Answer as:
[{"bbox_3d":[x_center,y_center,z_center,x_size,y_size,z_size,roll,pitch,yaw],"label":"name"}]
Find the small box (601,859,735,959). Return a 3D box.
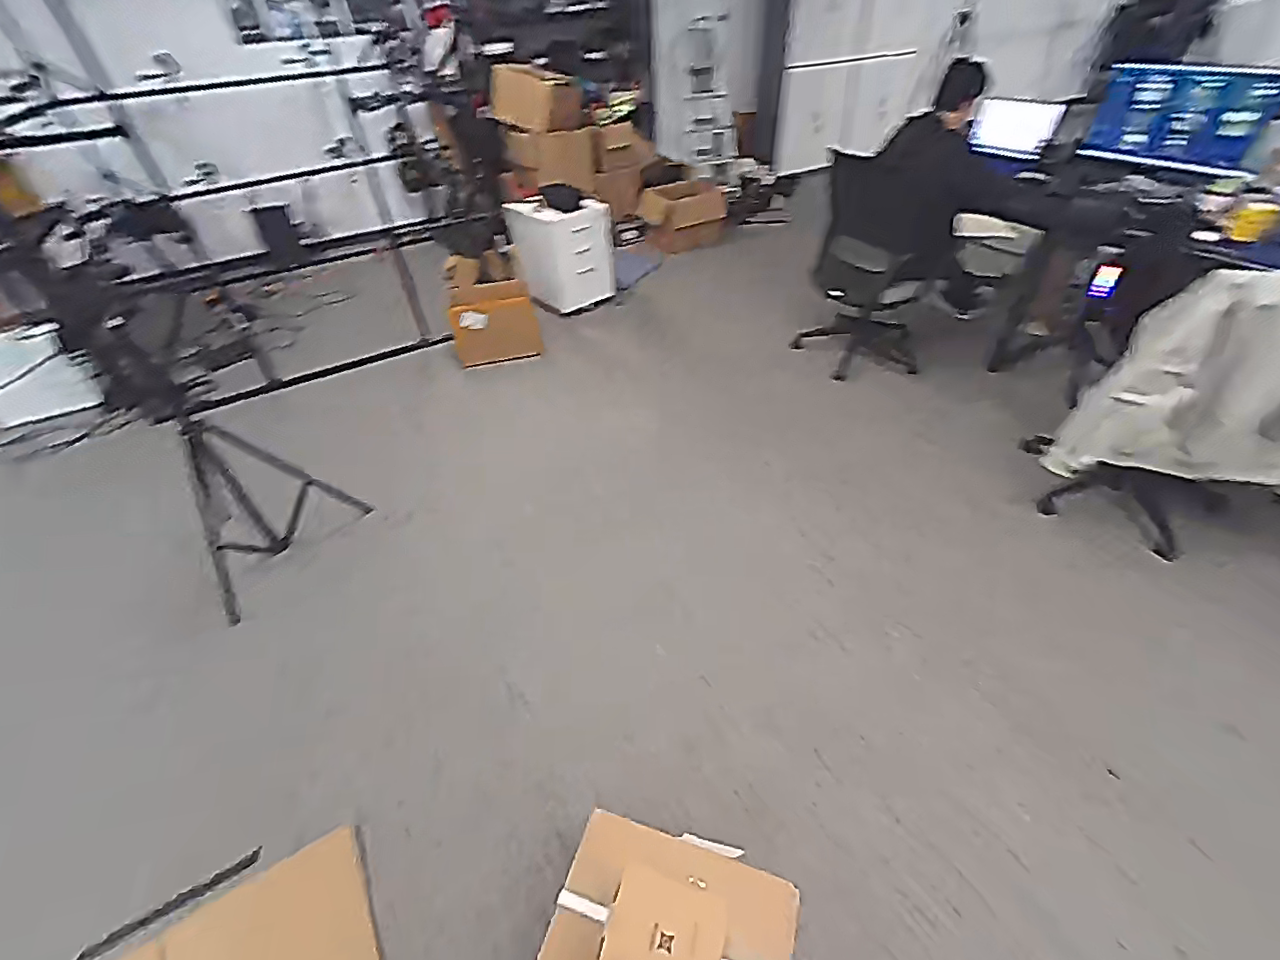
[{"bbox_3d":[0.045,0.740,0.852,0.179,0.176,0.168,11,45,14],"label":"small box"}]
